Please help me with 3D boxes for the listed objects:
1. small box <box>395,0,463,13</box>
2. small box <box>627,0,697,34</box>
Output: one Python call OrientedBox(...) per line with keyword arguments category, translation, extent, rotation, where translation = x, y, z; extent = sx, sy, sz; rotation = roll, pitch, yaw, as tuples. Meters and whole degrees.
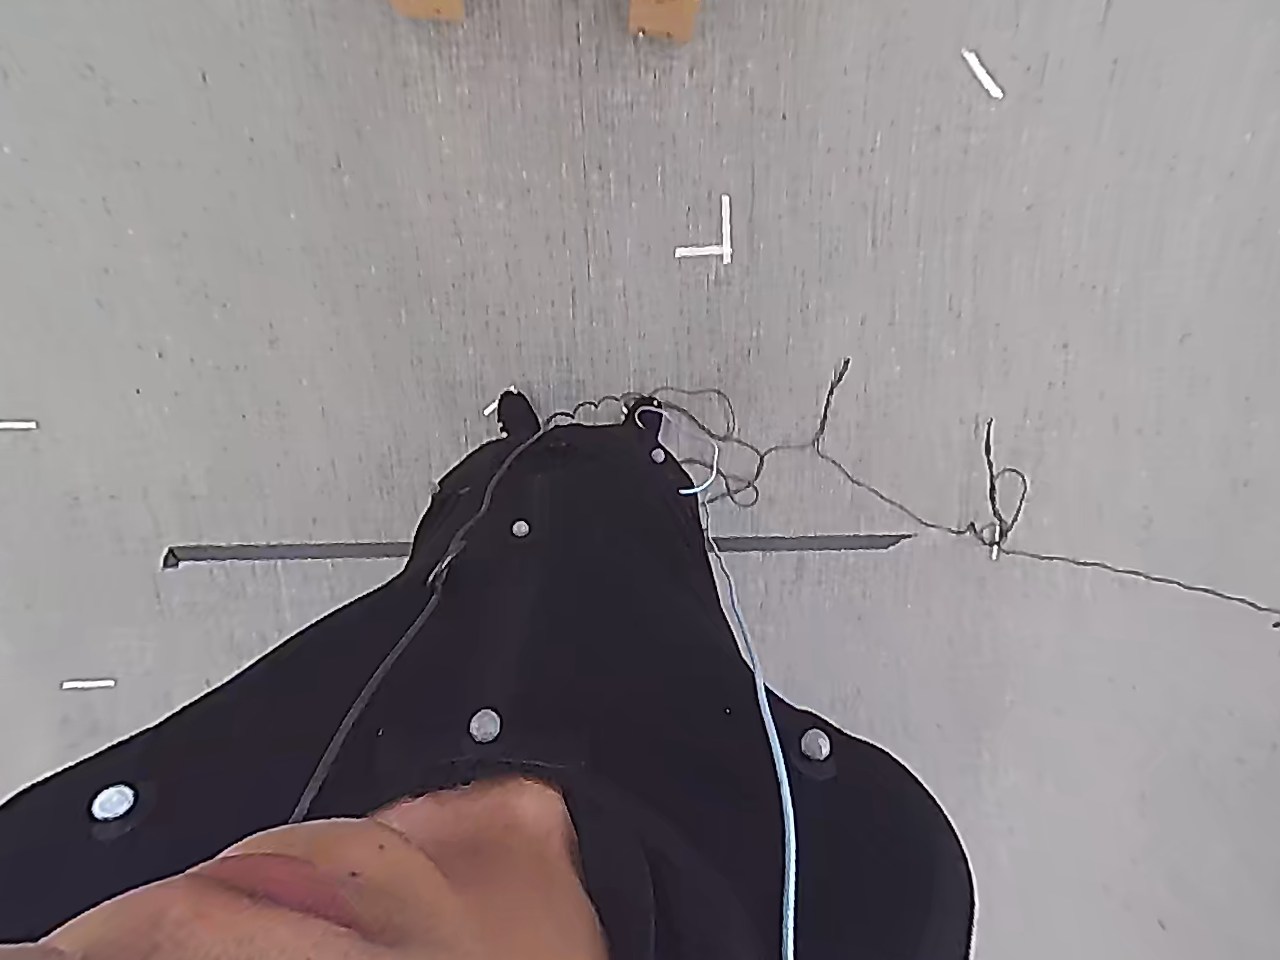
OrientedBox(category="small box", translation=(-0.517, -1.233, 1.254), extent=(0.168, 0.176, 0.179), rotation=(0, 101, -3))
OrientedBox(category="small box", translation=(0.056, -1.210, 1.288), extent=(0.168, 0.176, 0.179), rotation=(2, 101, -4))
